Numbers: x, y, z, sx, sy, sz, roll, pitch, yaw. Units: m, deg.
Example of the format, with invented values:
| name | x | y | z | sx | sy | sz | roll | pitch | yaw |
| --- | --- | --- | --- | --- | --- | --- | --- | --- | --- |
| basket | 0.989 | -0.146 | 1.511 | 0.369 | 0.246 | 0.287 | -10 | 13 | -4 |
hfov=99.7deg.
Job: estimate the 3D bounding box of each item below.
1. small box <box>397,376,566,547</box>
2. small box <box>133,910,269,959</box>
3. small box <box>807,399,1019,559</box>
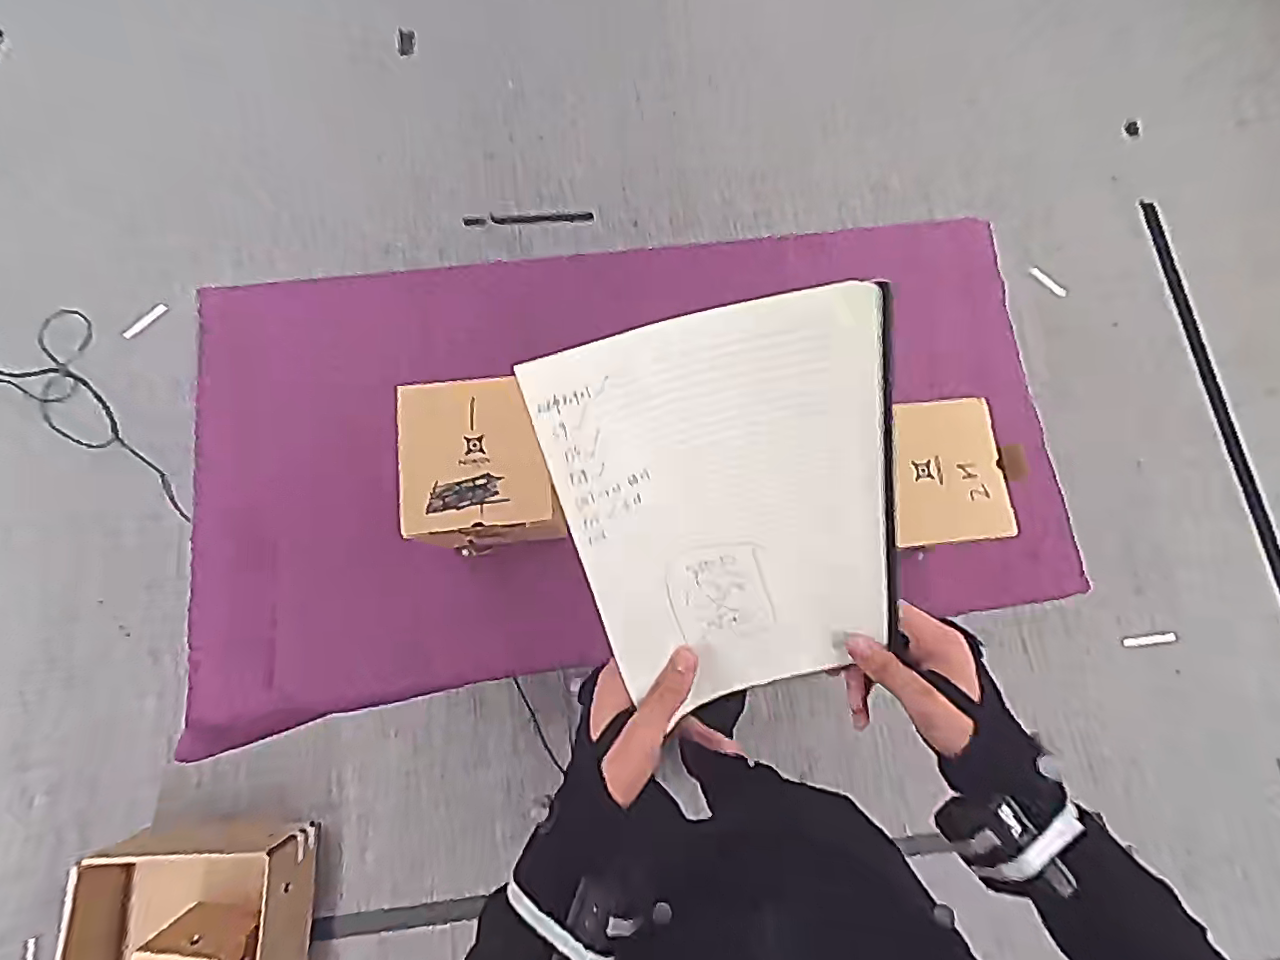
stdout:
| name | x | y | z | sx | sy | sz | roll | pitch | yaw |
| --- | --- | --- | --- | --- | --- | --- | --- | --- | --- |
| small box | -0.187 | -0.012 | 0.675 | 0.168 | 0.176 | 0.179 | -6 | 78 | -4 |
| small box | -0.919 | 1.036 | 1.123 | 0.179 | 0.176 | 0.168 | 7 | 78 | -1 |
| small box | 0.326 | 0.008 | 0.689 | 0.179 | 0.176 | 0.168 | -5 | 78 | -3 |
